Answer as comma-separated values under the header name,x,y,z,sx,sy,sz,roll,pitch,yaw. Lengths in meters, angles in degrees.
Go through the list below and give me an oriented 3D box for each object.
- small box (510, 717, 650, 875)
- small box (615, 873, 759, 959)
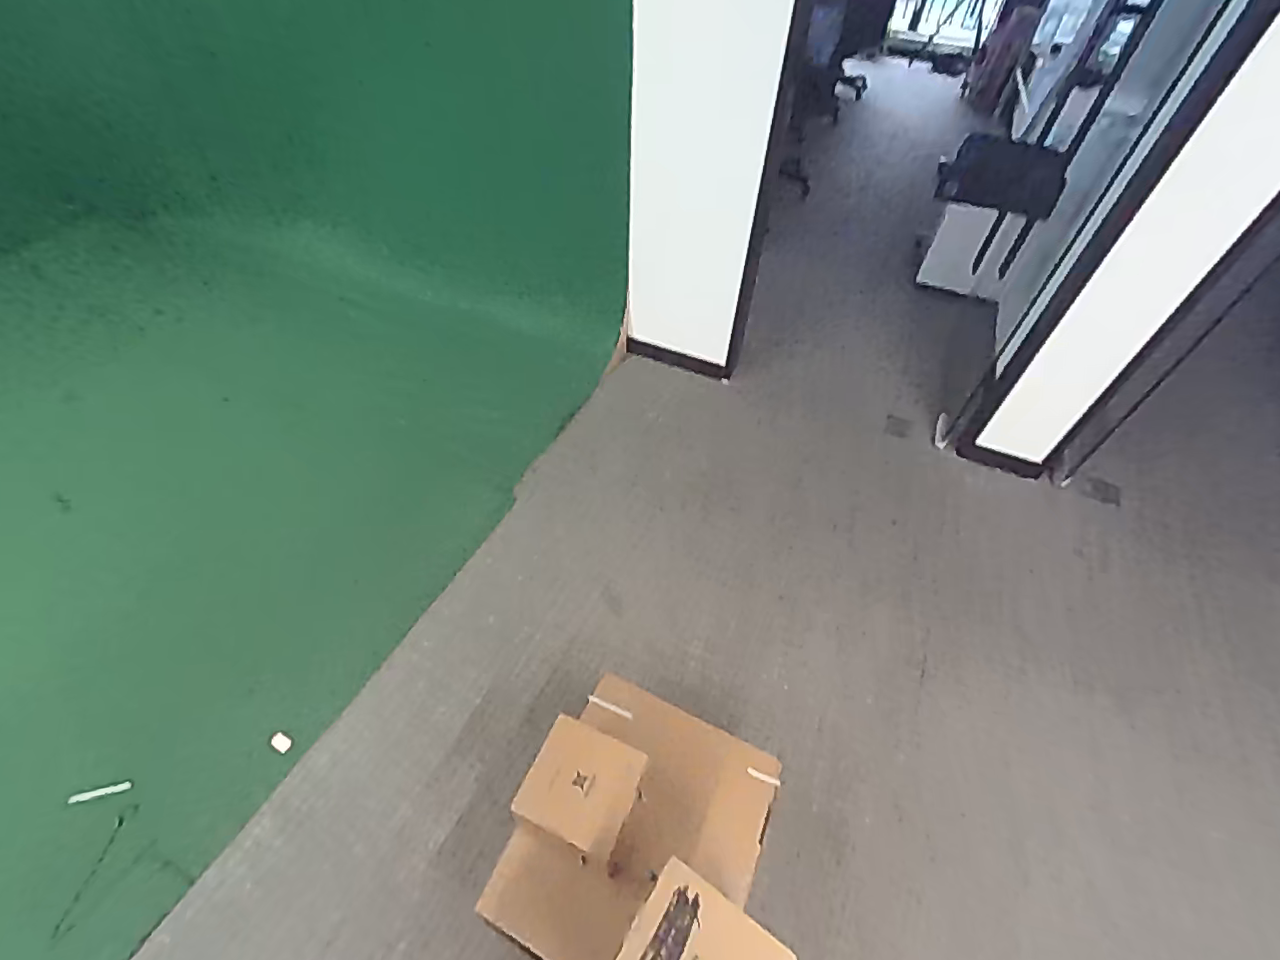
name,x,y,z,sx,sy,sz,roll,pitch,yaw
small box,-0.097,0.550,0.935,0.179,0.176,0.168,20,48,15
small box,0.050,0.721,0.784,0.168,0.176,0.179,25,50,17
